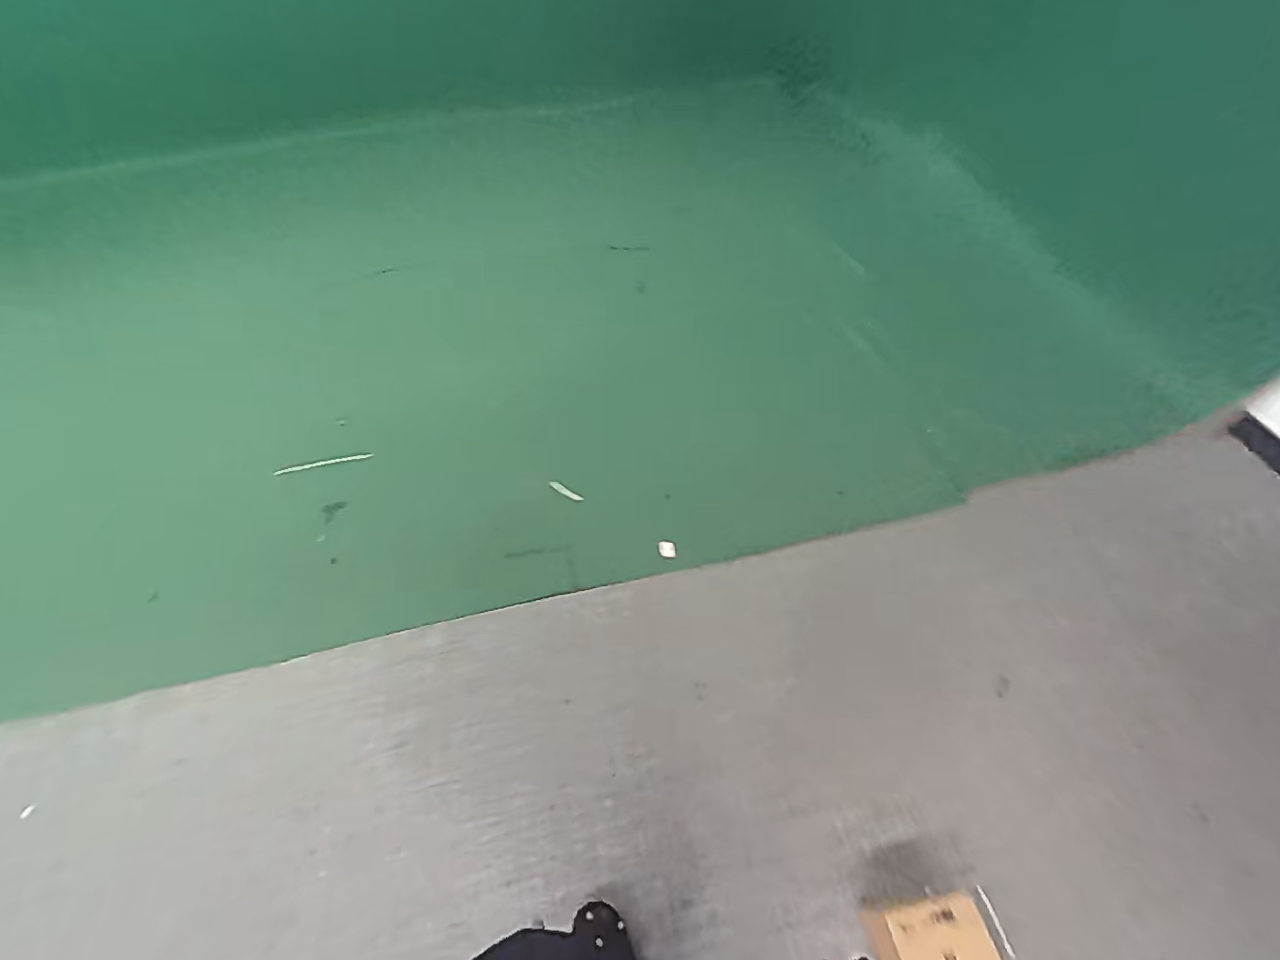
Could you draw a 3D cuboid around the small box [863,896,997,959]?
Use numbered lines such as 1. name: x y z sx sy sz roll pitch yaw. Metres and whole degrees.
1. small box: 0.528 0.872 0.968 0.168 0.176 0.179 -9 55 -3
